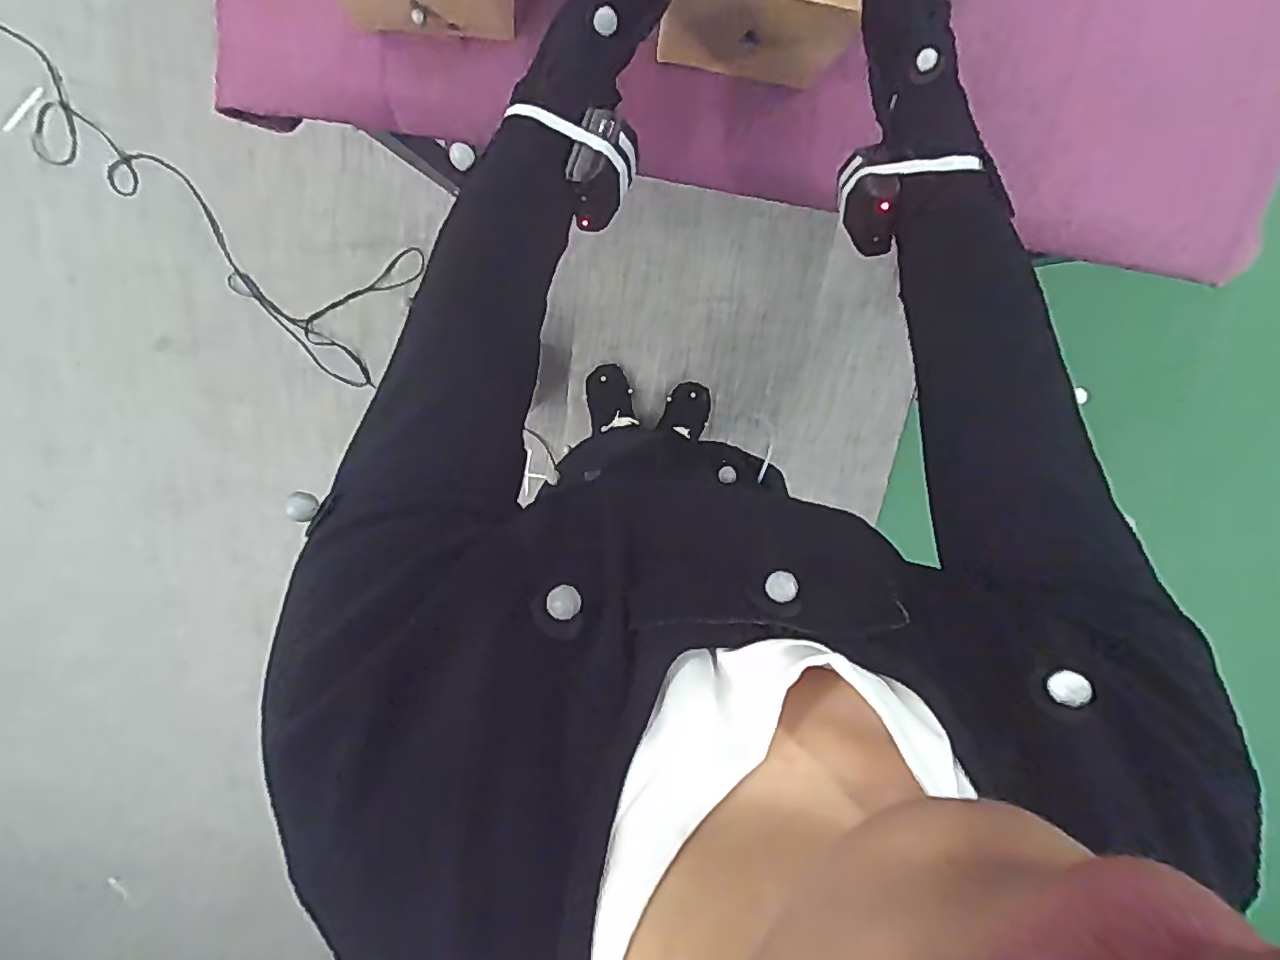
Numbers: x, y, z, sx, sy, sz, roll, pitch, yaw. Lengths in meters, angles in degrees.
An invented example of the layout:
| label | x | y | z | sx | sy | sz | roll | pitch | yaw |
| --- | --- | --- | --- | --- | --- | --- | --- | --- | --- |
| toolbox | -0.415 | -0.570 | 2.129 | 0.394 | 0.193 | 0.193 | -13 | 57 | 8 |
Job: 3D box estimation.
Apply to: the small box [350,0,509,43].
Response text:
| label | x | y | z | sx | sy | sz | roll | pitch | yaw |
| --- | --- | --- | --- | --- | --- | --- | --- | --- | --- |
| small box | -0.216 | -0.551 | 0.494 | 0.168 | 0.176 | 0.179 | 4 | 105 | -3 |
